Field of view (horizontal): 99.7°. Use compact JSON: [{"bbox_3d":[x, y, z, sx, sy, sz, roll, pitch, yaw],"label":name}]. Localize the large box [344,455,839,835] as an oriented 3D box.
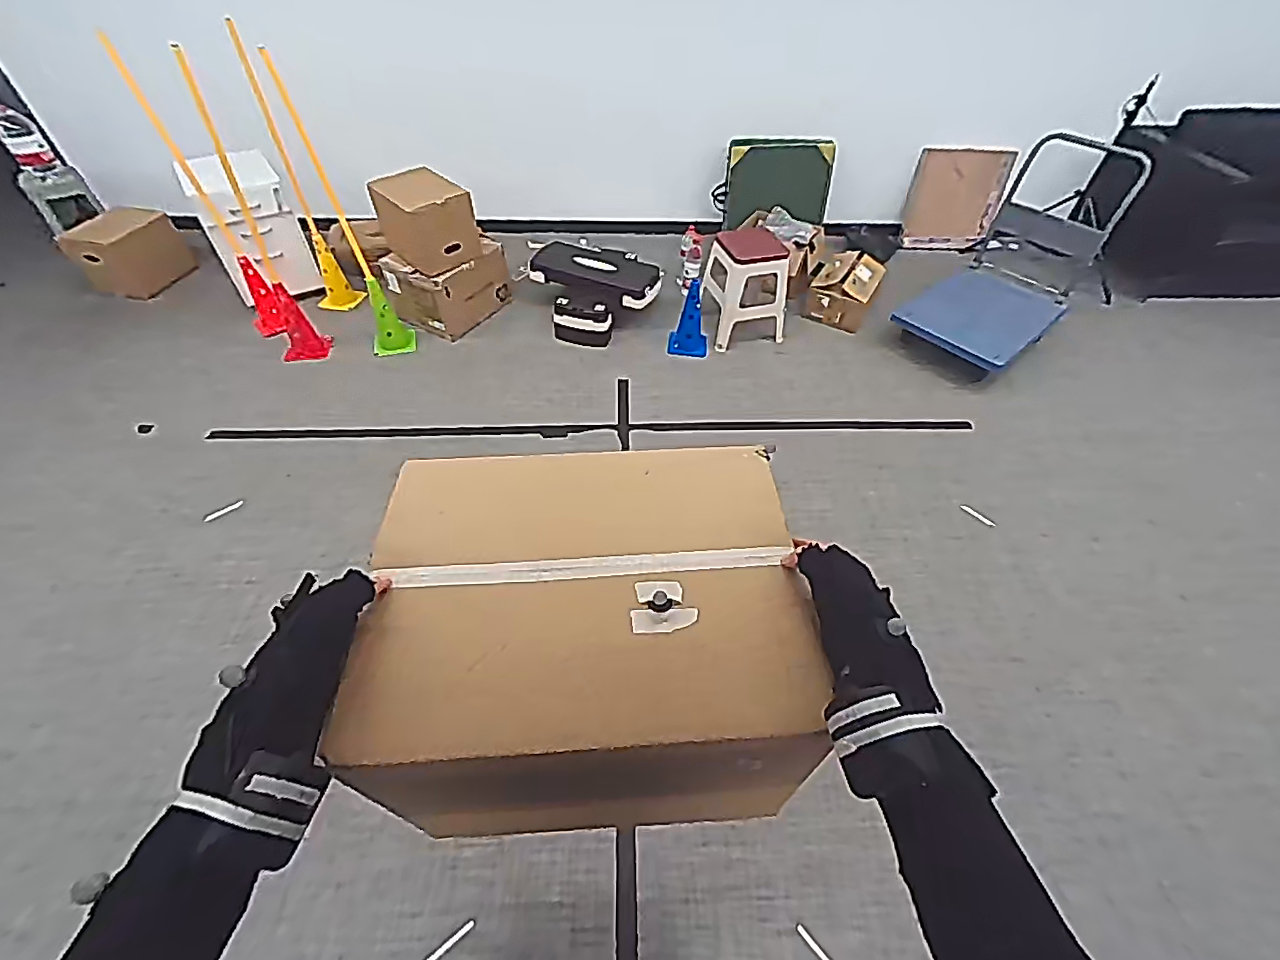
[{"bbox_3d":[-0.046,0.193,0.635,0.408,0.320,0.320,-3,48,-3],"label":"large box"}]
